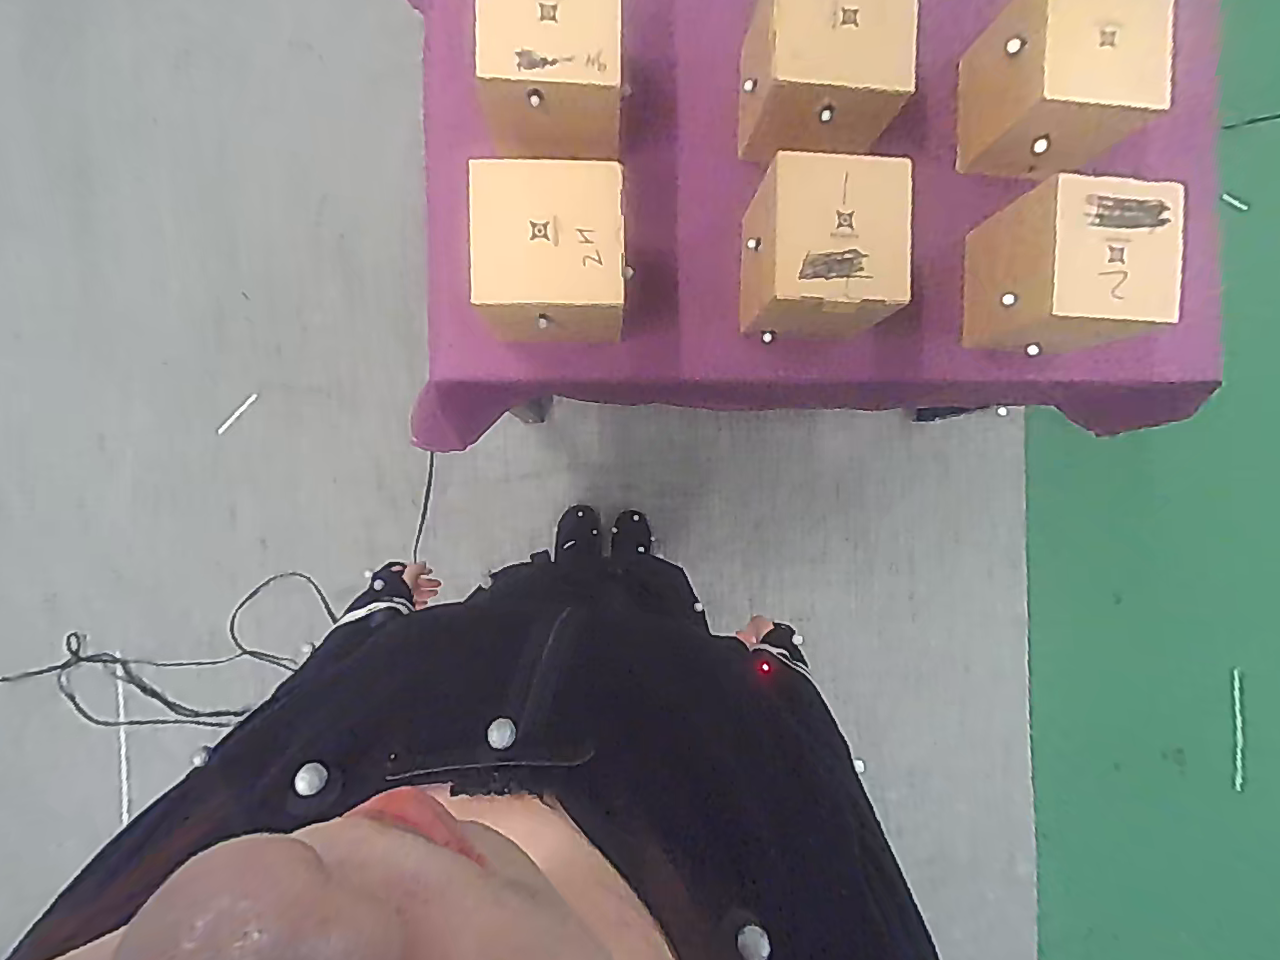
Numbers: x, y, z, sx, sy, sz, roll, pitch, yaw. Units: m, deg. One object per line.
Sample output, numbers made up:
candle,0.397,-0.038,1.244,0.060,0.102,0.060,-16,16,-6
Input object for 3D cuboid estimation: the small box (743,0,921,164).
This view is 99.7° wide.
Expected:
small box,0.242,-0.542,0.719,0.179,0.176,0.168,3,90,-4

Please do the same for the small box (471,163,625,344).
small box,-0.108,-0.277,0.696,0.179,0.176,0.168,0,90,-4

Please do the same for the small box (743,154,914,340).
small box,0.237,-0.292,0.715,0.168,0.176,0.179,1,88,-3

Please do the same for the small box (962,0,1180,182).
small box,0.570,-0.536,0.736,0.168,0.176,0.179,3,89,-3

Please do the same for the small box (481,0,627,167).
small box,-0.103,-0.535,0.698,0.168,0.176,0.179,1,89,-3
